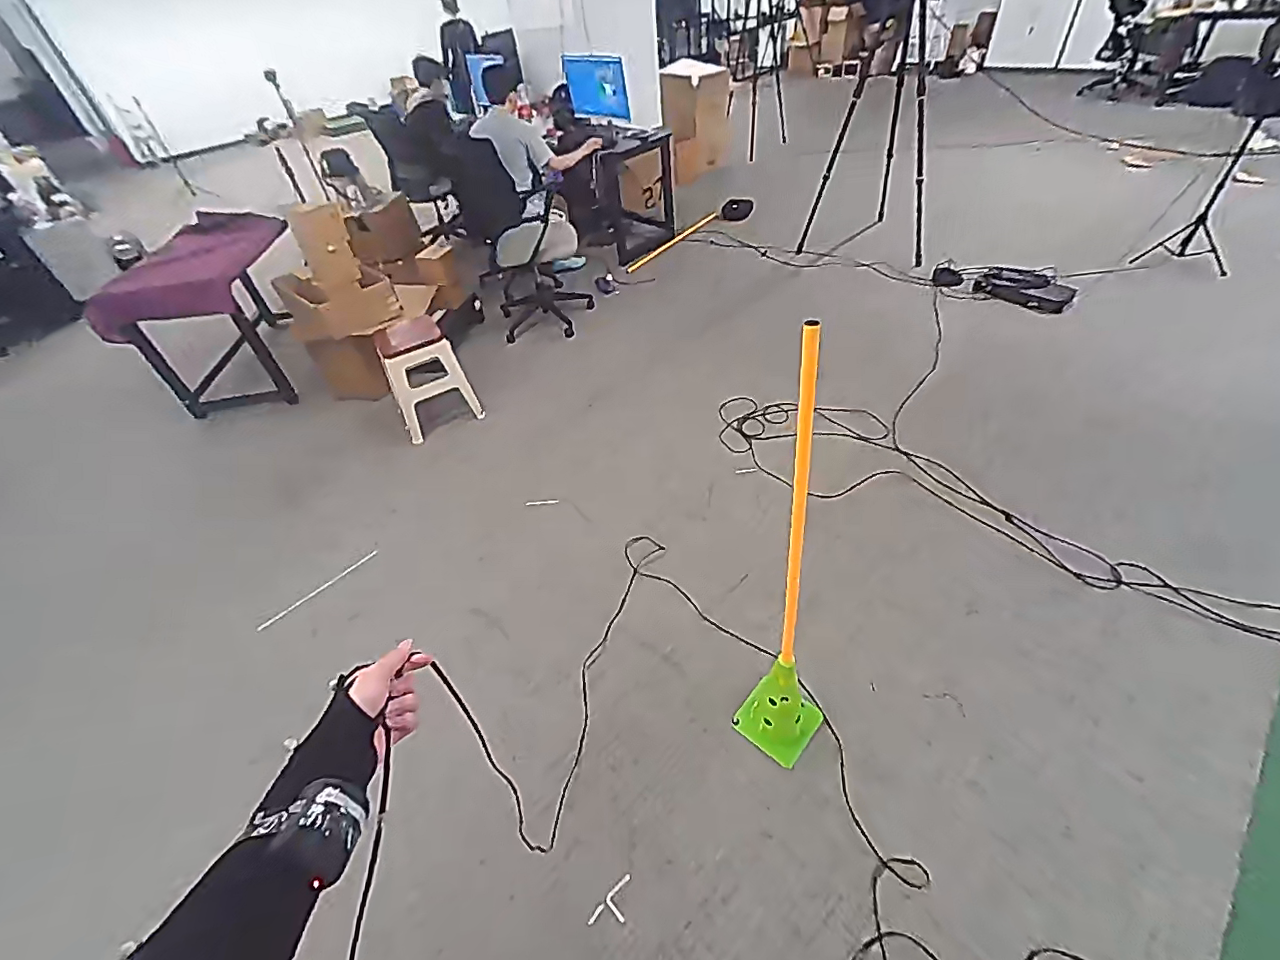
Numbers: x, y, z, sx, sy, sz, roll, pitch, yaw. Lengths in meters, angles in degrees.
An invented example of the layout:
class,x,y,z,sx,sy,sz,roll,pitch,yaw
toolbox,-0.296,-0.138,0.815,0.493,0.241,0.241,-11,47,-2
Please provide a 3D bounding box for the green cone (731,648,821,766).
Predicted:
class,x,y,z,sx,sy,sz,roll,pitch,yaw
green cone,0.376,0.562,1.437,0.200,0.368,0.202,29,53,32
